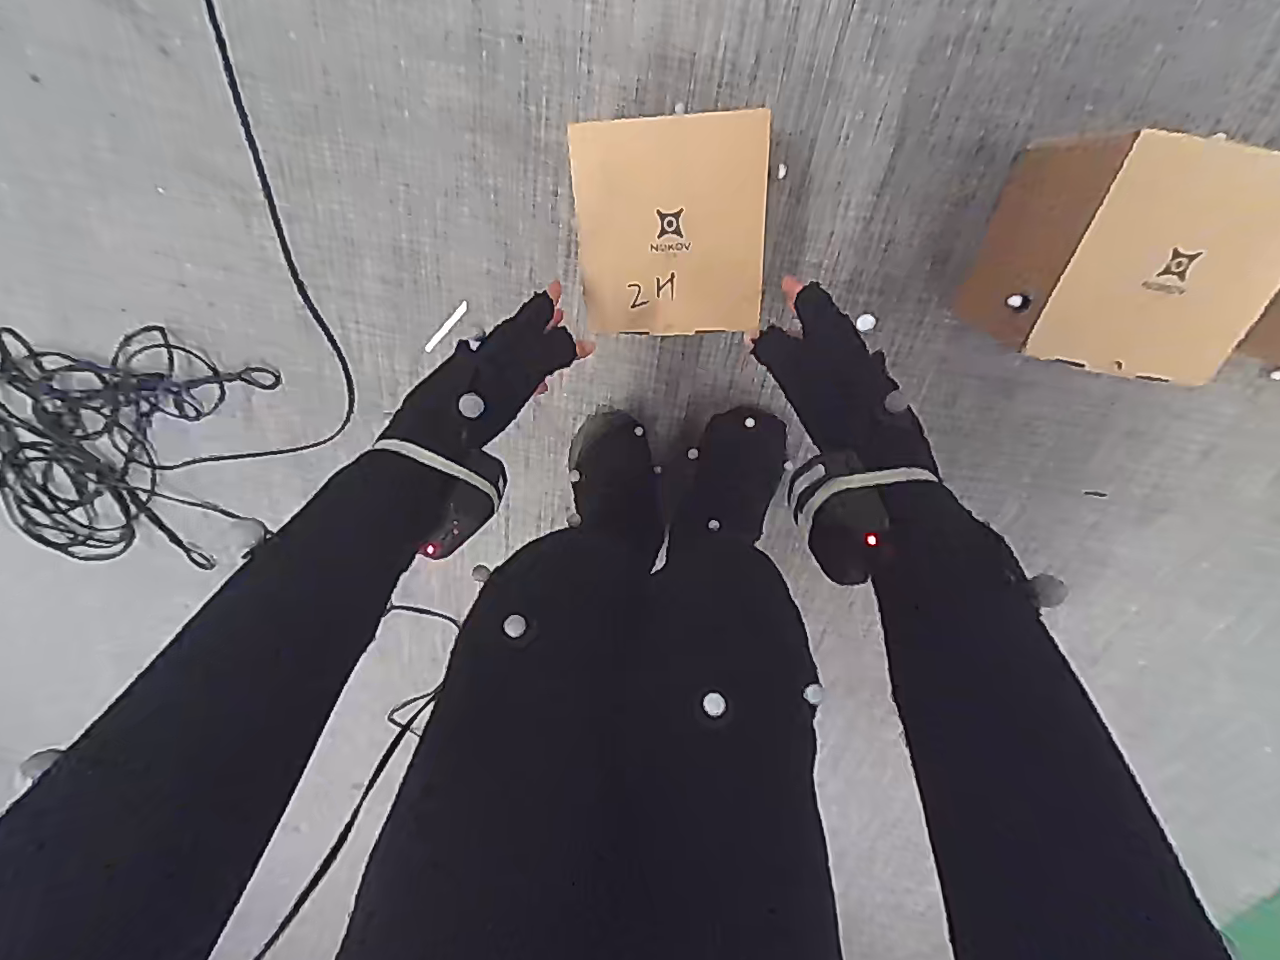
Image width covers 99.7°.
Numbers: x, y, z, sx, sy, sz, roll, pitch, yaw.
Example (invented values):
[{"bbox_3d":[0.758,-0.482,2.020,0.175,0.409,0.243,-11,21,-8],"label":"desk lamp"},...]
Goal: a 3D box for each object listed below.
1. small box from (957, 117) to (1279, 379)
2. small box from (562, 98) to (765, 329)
[{"bbox_3d":[0.433,-0.217,0.504,0.168,0.176,0.179,11,122,2],"label":"small box"},{"bbox_3d":[0.030,-0.259,0.538,0.168,0.176,0.179,1,120,9],"label":"small box"}]
